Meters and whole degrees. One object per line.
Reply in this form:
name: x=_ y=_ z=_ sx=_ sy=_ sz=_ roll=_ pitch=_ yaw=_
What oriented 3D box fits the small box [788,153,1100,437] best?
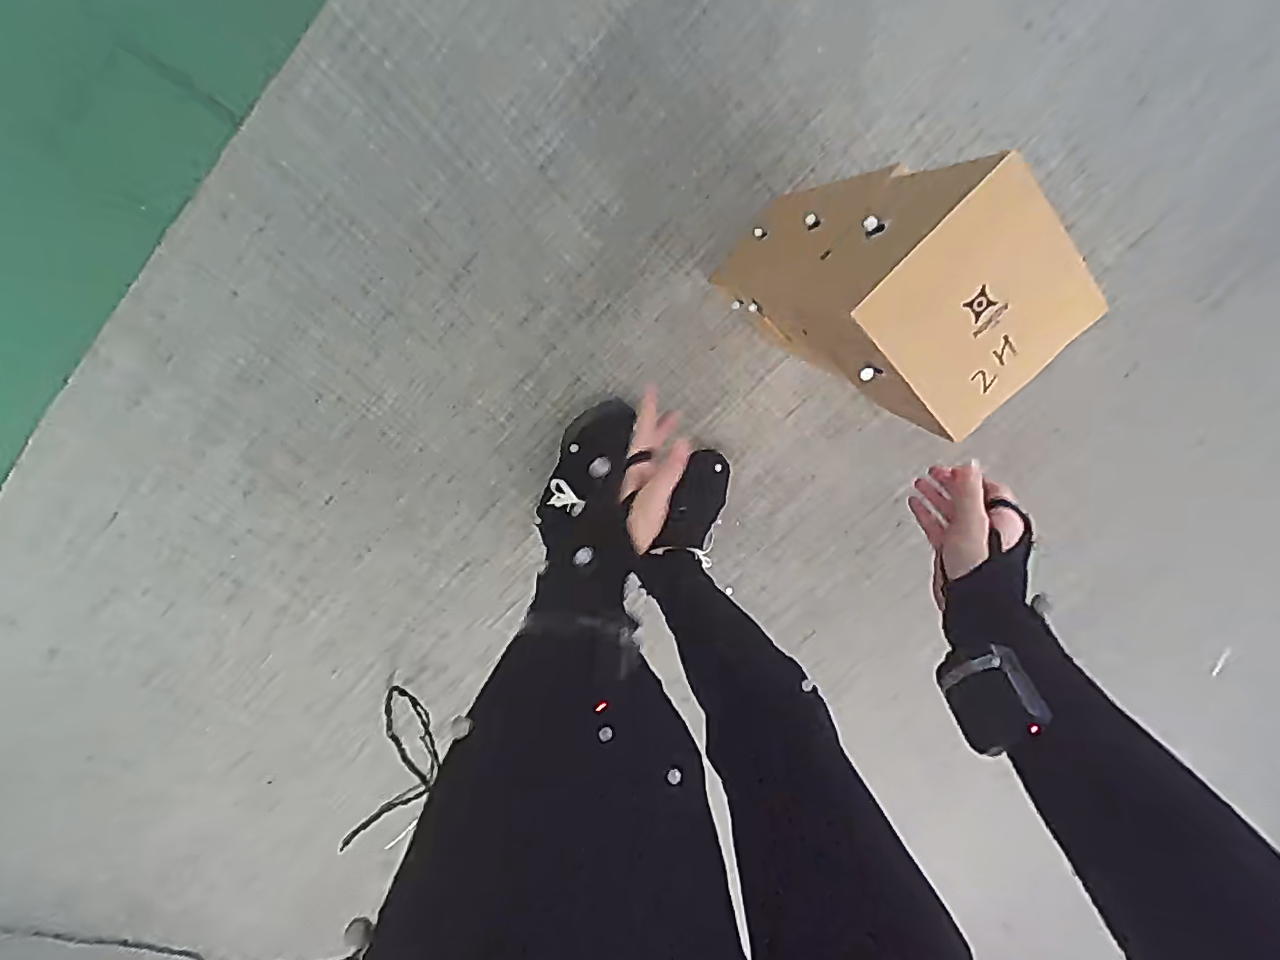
small box: x=0.280 y=-0.176 z=0.535 sx=0.179 sy=0.176 sz=0.168 roll=40 pitch=102 yaw=-21

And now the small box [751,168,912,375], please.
small box: x=0.262 y=-0.249 z=0.682 sx=0.168 sy=0.176 sz=0.179 roll=39 pitch=102 yaw=-20
